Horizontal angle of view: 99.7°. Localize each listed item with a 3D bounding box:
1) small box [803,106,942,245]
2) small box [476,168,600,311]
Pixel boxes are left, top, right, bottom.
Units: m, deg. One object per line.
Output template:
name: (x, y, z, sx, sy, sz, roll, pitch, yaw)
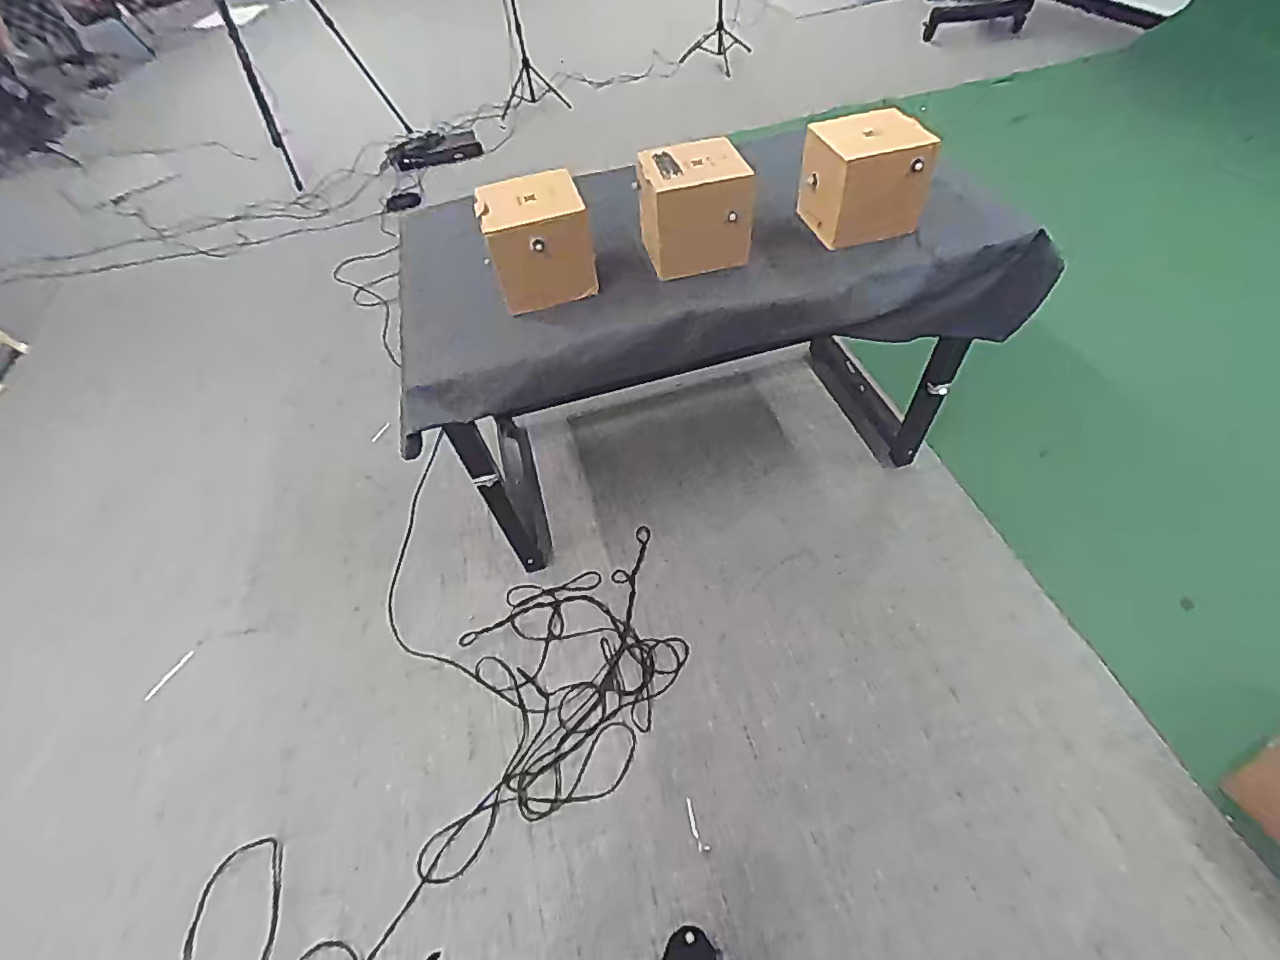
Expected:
small box: (0.421, -0.569, 1.019, 0.179, 0.176, 0.168, -14, 53, -4)
small box: (-0.184, -0.437, 0.993, 0.179, 0.176, 0.168, -16, 55, -6)
